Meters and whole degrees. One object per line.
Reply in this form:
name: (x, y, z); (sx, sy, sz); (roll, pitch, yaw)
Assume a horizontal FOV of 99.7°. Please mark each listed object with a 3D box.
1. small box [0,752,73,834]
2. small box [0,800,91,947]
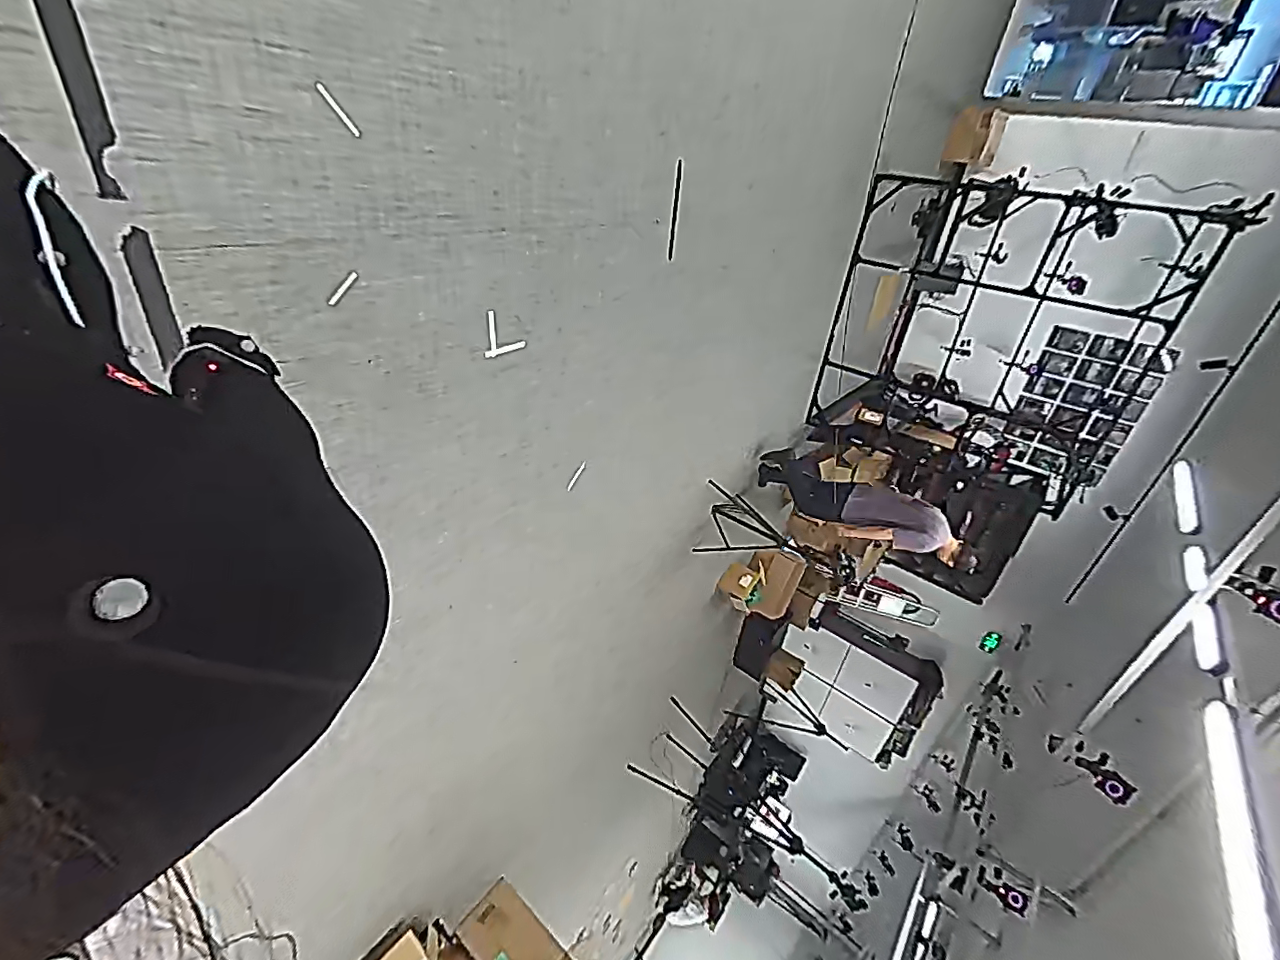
small box: (-1.435, 0.756, 1.207); (0.179, 0.176, 0.168); (-27, 135, -45)
small box: (-1.307, 0.819, 1.123); (0.179, 0.176, 0.168); (-26, 134, -44)
